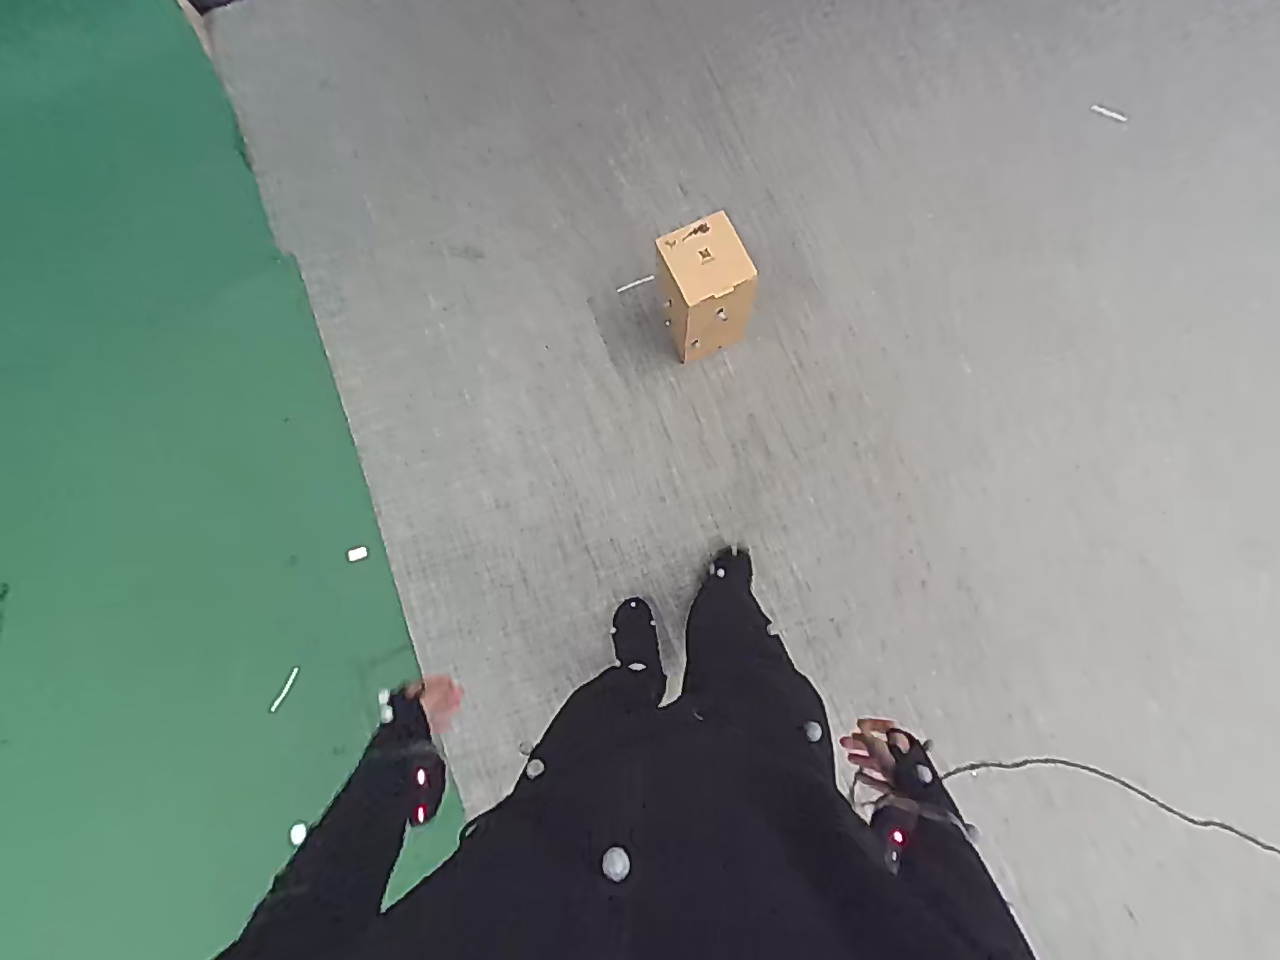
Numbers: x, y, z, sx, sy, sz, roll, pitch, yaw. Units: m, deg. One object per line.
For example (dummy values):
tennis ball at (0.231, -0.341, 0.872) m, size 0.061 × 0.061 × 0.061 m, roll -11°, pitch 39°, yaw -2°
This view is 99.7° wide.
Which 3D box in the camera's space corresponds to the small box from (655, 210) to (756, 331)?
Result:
small box at (0.143, -0.460, 1.223) m, size 0.168 × 0.176 × 0.179 m, roll -24°, pitch 80°, yaw -2°
